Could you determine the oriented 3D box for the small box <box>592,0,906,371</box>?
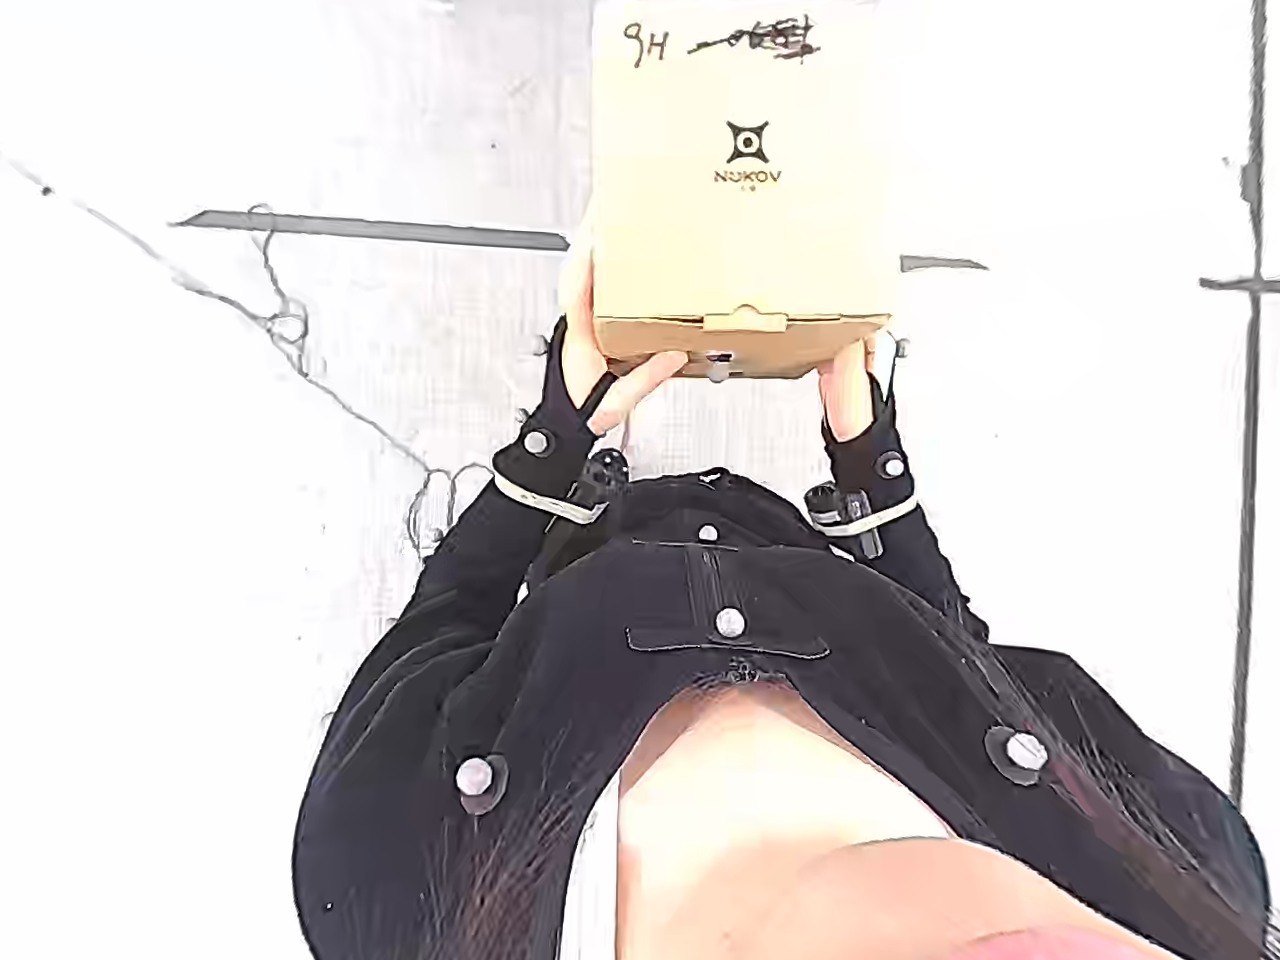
[{"bbox_3d":[0.056,-0.173,0.365,0.168,0.176,0.179,0,90,-2],"label":"small box"}]

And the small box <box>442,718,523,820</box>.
[{"bbox_3d":[-0.397,0.729,1.388,0.168,0.176,0.179,-4,92,-4],"label":"small box"}]

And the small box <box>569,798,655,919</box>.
[{"bbox_3d":[-0.065,0.862,1.247,0.179,0.176,0.168,5,91,-5],"label":"small box"}]

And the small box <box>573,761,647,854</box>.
[{"bbox_3d":[-0.079,0.858,1.411,0.179,0.176,0.168,3,91,-5],"label":"small box"}]

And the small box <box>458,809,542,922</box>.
[{"bbox_3d":[-0.356,0.987,1.397,0.179,0.176,0.168,-4,92,-4],"label":"small box"}]
